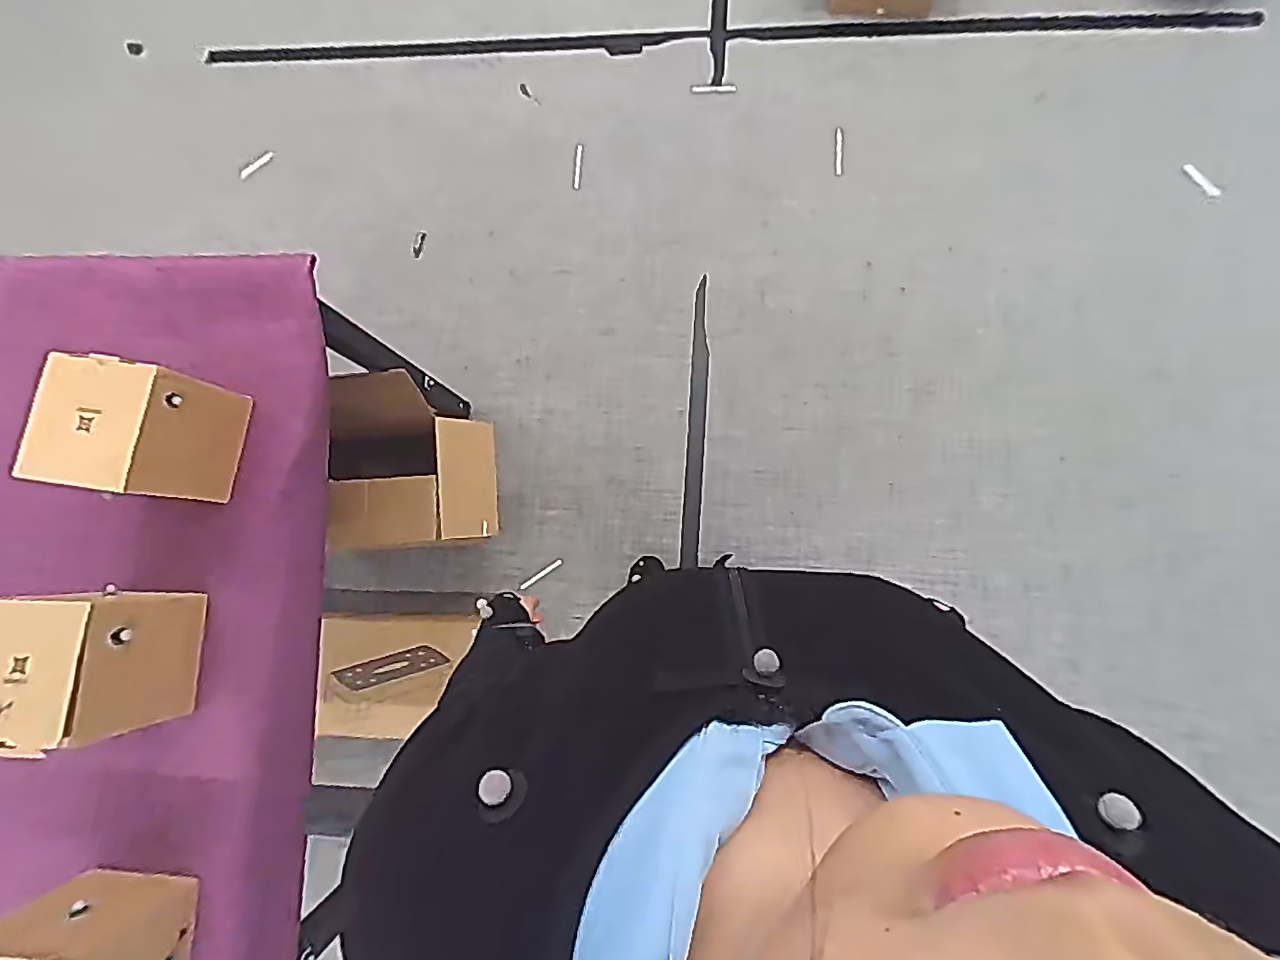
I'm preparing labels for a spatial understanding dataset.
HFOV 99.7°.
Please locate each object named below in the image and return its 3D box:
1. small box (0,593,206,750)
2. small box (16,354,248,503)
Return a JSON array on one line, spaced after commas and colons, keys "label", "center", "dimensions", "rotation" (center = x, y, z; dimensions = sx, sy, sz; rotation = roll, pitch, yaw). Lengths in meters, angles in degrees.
[{"label": "small box", "center": [-0.750, 0.249, 0.746], "dimensions": [0.168, 0.176, 0.179], "rotation": [0, 82, 7]}, {"label": "small box", "center": [-0.721, -0.065, 0.790], "dimensions": [0.168, 0.176, 0.179], "rotation": [7, 82, 6]}]
